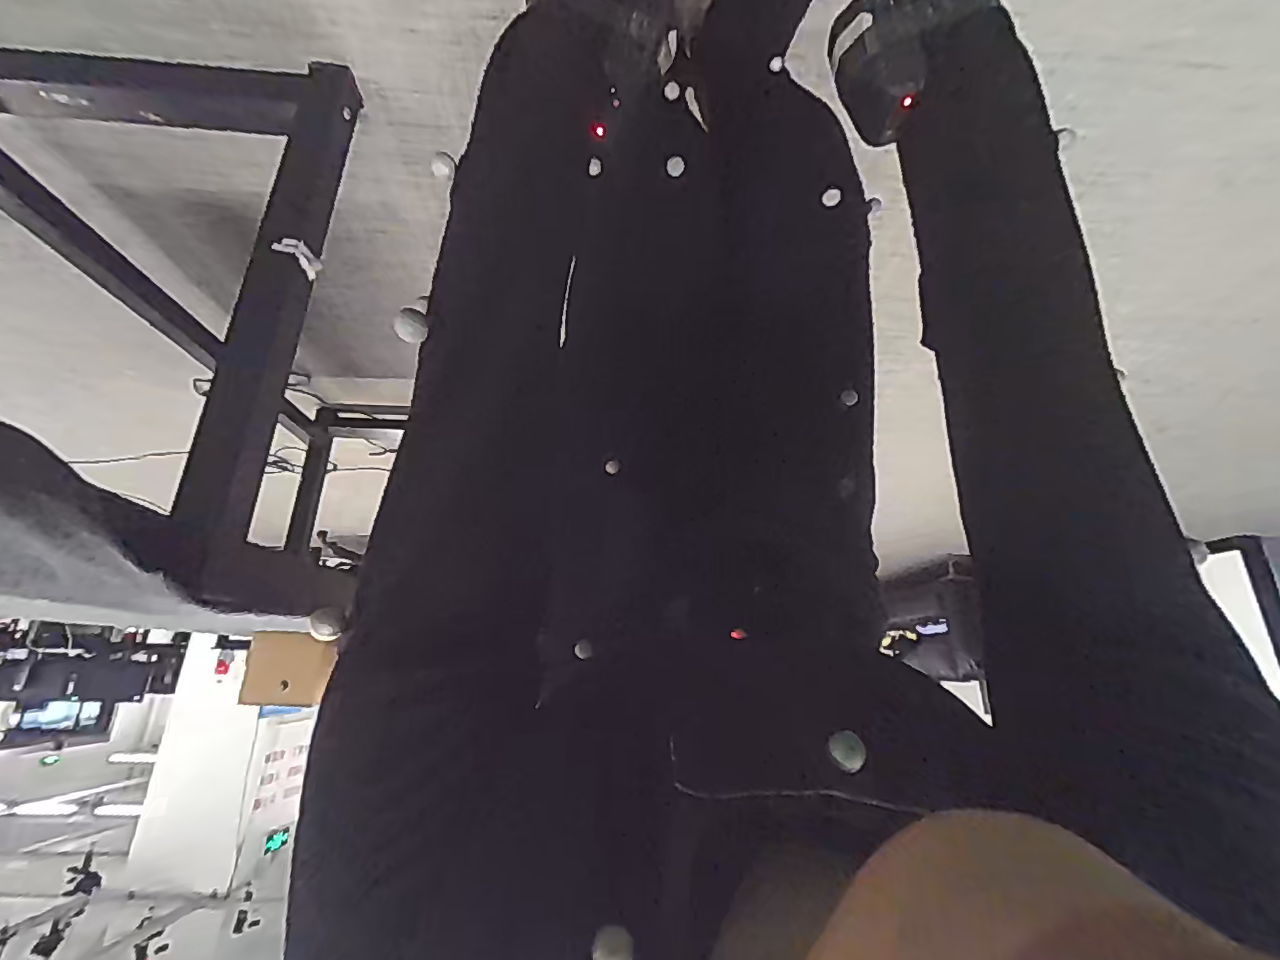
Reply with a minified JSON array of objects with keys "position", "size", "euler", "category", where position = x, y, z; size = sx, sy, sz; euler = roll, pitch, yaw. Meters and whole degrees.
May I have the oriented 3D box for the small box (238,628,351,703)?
[{"position":[-0.853,0.462,1.358],"size":[0.179,0.176,0.168],"euler":[3,161,-2],"category":"small box"}]
